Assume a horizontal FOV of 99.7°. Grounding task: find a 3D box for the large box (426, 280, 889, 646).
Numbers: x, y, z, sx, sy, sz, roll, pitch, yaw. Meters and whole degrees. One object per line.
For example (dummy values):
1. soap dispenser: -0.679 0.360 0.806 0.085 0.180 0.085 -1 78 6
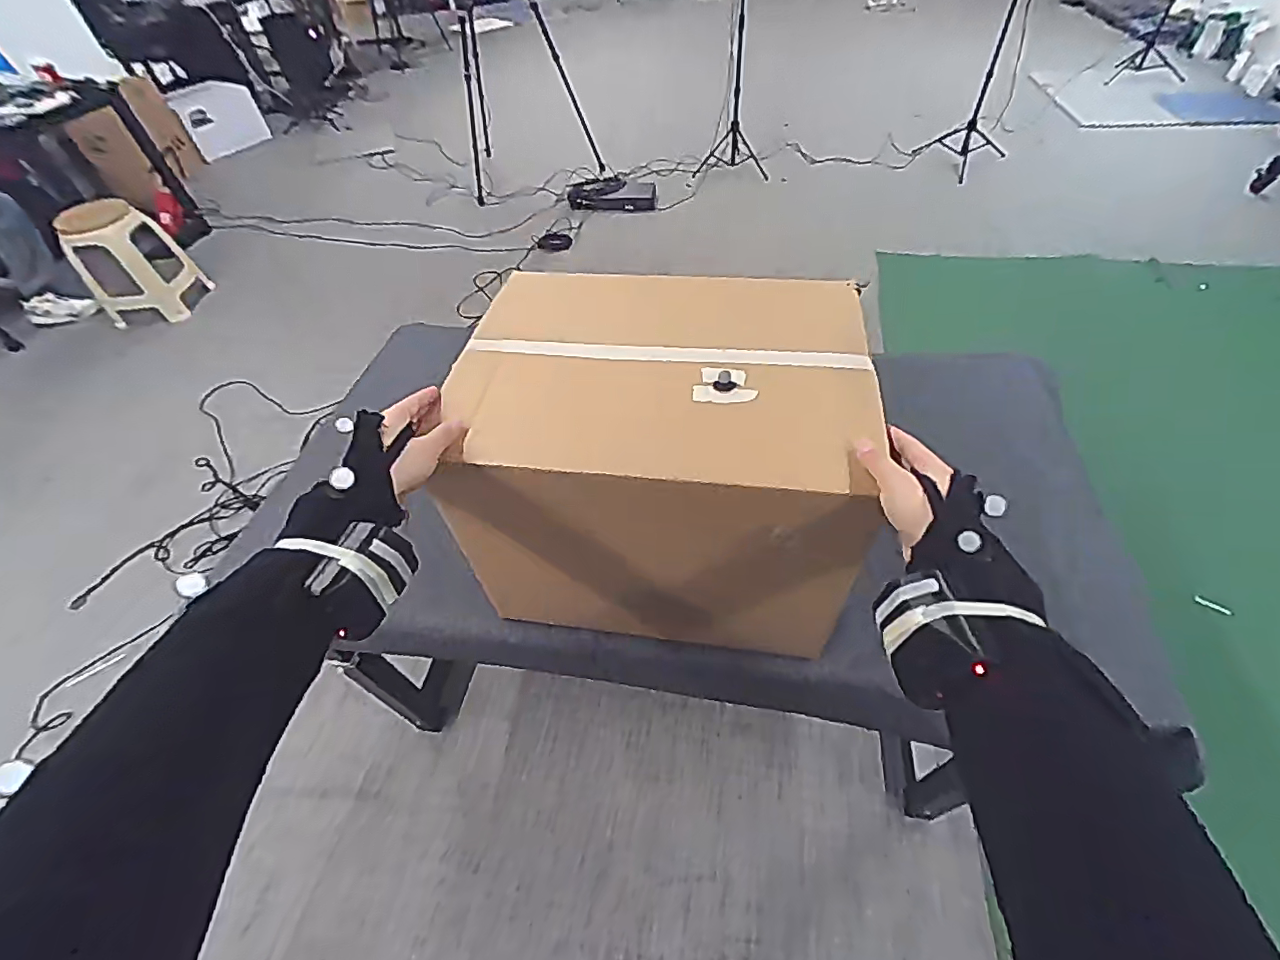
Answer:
1. large box: 0.030 -0.022 0.660 0.408 0.320 0.320 5 50 8
